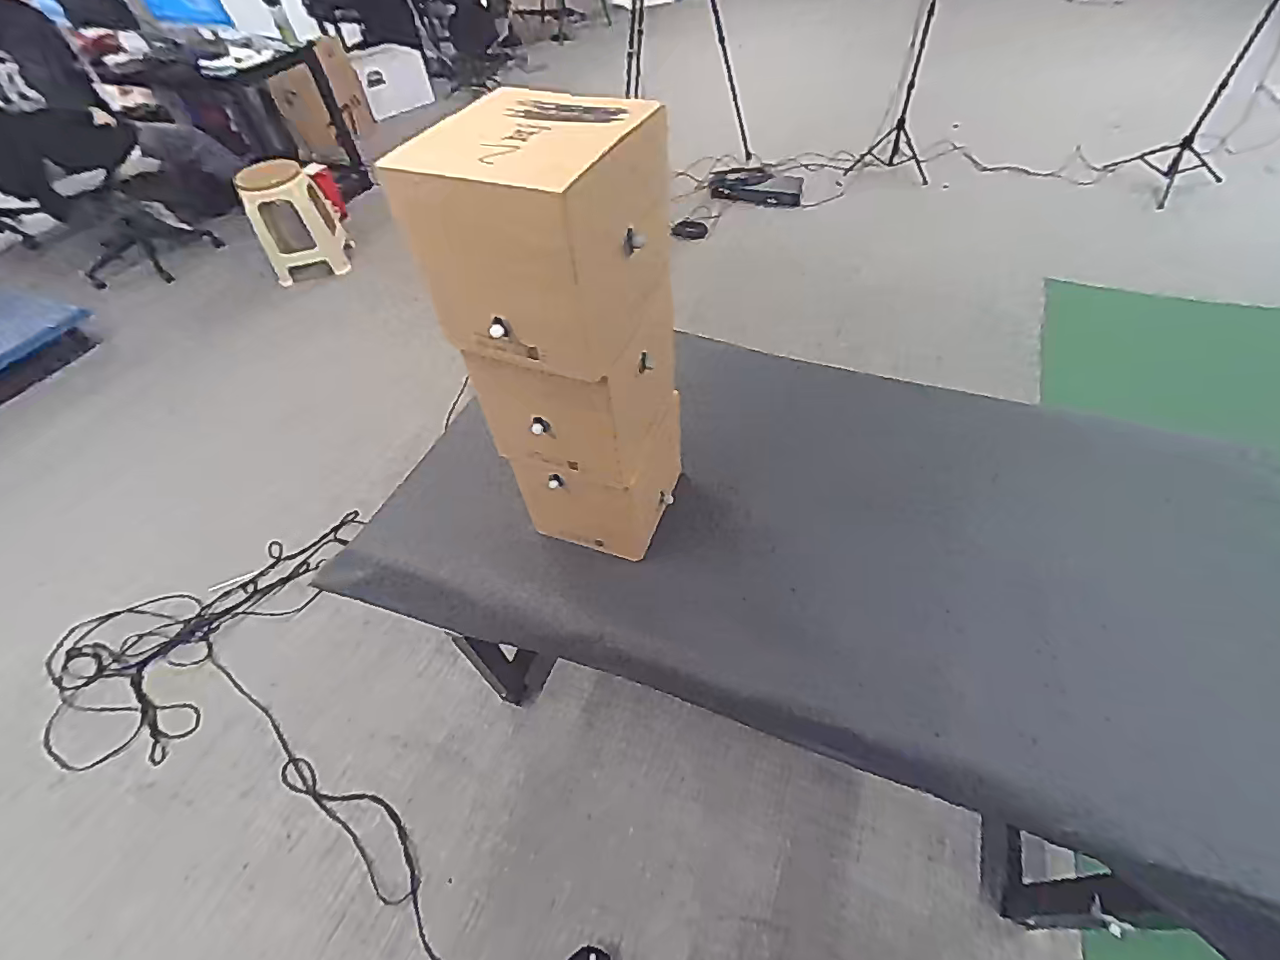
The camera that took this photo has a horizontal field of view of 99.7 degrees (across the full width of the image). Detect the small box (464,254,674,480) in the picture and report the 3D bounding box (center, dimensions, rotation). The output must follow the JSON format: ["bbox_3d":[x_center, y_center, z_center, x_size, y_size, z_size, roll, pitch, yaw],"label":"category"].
[{"bbox_3d":[-0.064,-0.127,0.618,0.168,0.176,0.179,16,53,16],"label":"small box"}]

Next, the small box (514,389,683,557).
[{"bbox_3d":[-0.047,-0.025,0.747,0.168,0.176,0.179,15,53,16],"label":"small box"}]
